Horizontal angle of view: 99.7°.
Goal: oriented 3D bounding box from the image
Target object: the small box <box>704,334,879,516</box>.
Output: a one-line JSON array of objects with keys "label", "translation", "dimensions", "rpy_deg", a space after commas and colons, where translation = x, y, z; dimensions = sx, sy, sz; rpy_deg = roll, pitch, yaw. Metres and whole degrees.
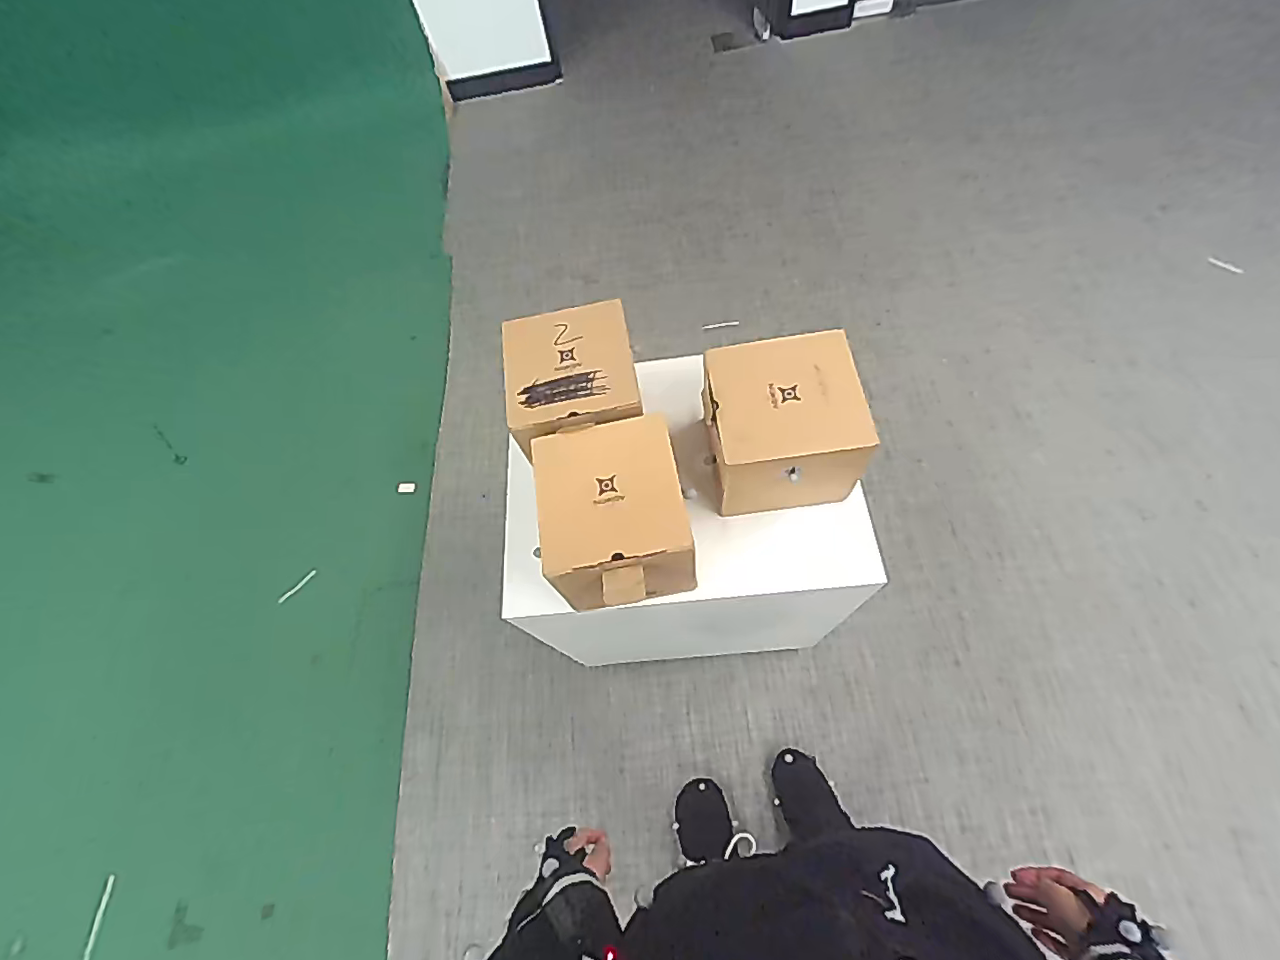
[{"label": "small box", "translation": [0.182, -0.062, 0.707], "dimensions": [0.179, 0.176, 0.168], "rpy_deg": [-8, 65, 4]}]
